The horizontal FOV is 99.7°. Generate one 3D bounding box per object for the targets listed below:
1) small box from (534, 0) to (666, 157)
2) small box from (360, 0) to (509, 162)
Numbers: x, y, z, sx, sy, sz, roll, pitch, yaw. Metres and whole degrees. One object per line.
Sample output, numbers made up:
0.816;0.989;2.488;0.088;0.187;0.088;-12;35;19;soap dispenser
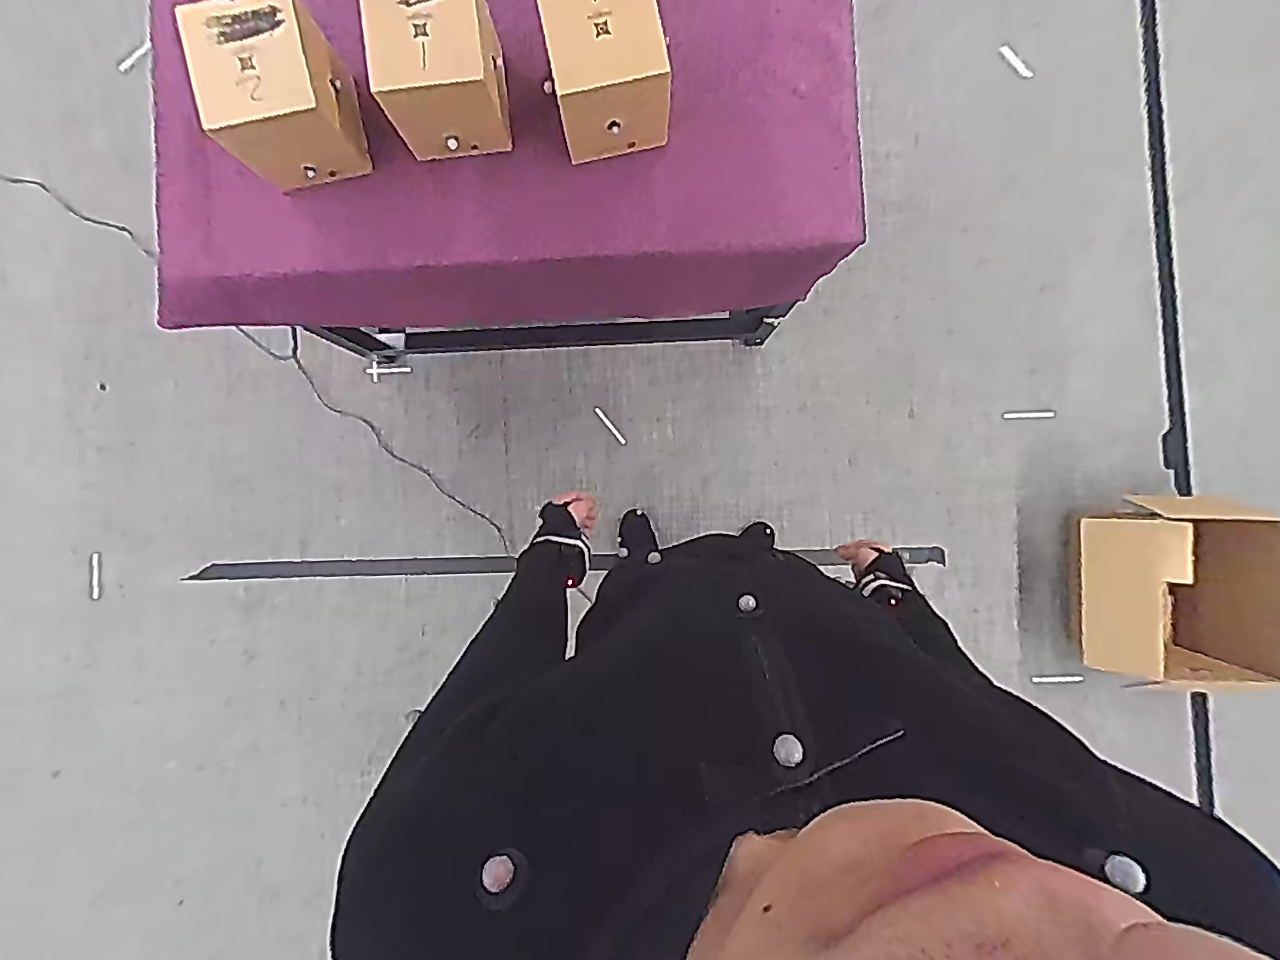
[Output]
-0.057;-0.638;0.844;0.168;0.176;0.179;-12;89;0;small box
-0.311;-0.637;0.846;0.168;0.176;0.179;-7;90;0;small box
